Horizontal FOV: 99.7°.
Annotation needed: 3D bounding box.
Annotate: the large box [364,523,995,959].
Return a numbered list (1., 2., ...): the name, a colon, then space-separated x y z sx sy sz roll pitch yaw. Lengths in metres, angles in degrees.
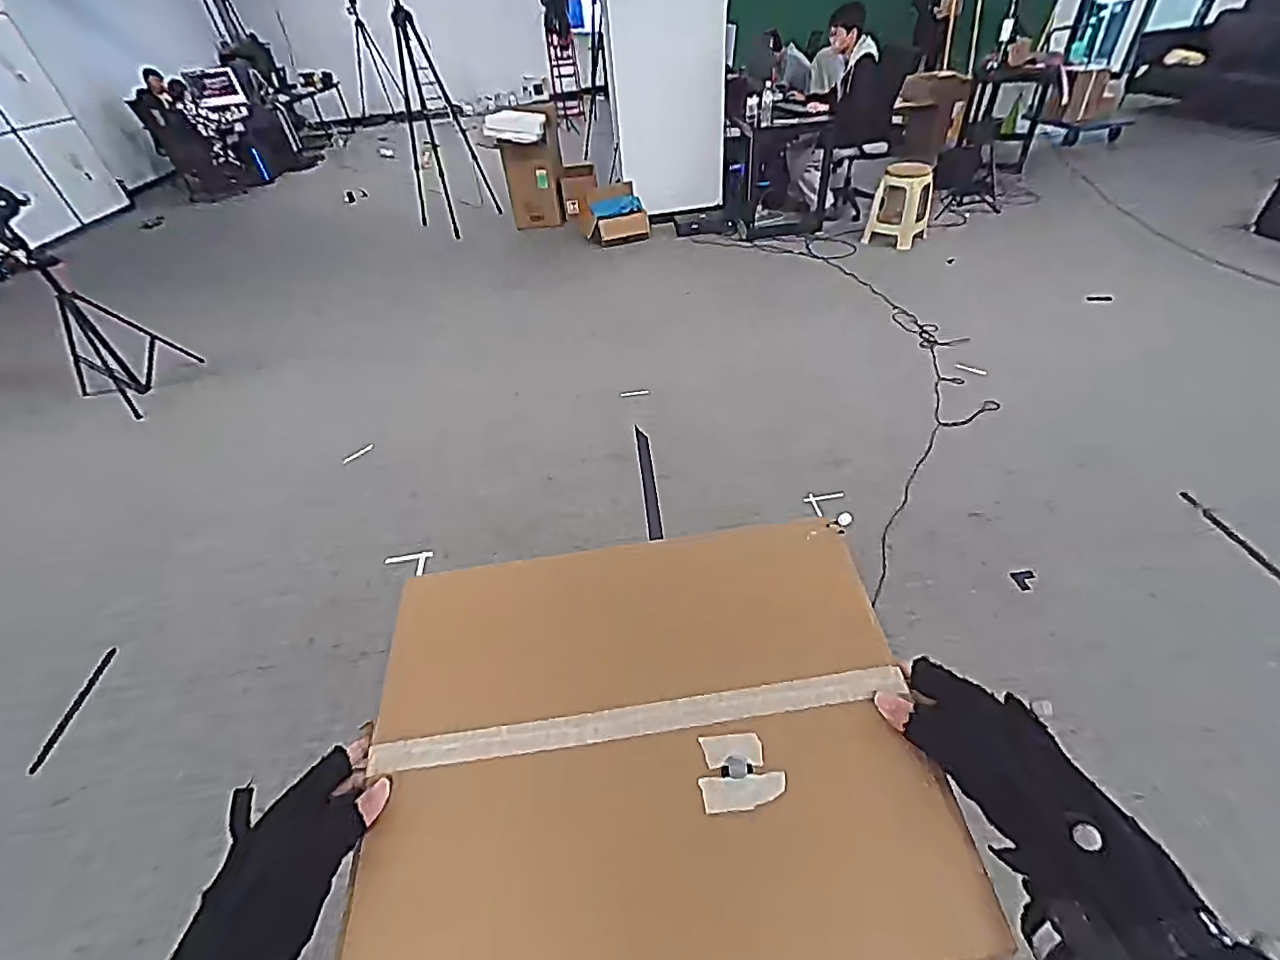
1. large box: 0.017 0.282 0.534 0.408 0.320 0.320 -9 51 -1
